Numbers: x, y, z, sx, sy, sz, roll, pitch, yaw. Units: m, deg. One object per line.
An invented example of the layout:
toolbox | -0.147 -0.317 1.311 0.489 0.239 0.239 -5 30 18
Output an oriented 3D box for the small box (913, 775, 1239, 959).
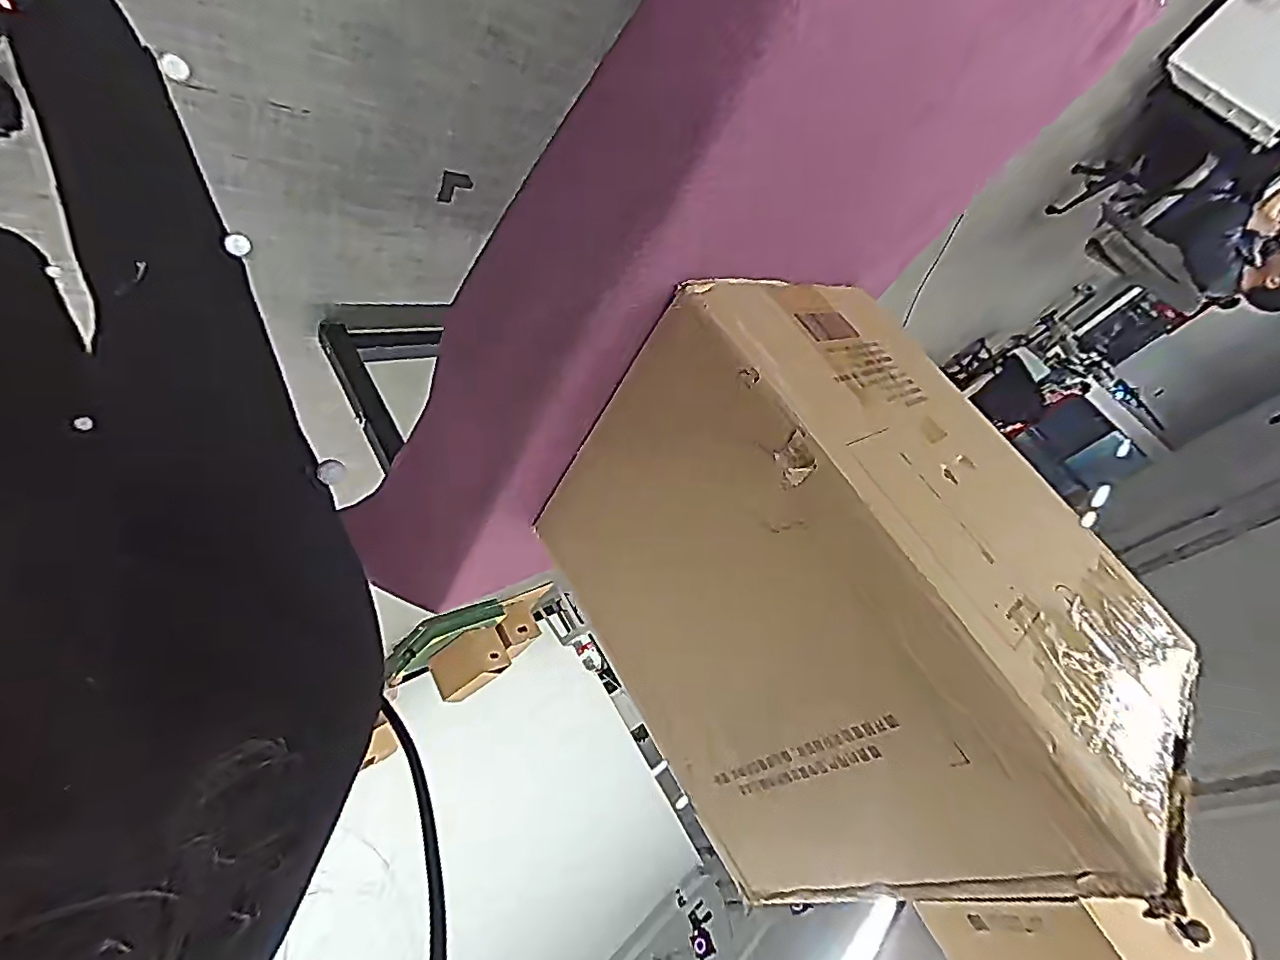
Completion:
small box | 0.405 0.415 0.514 0.179 0.176 0.168 -18 158 -41
